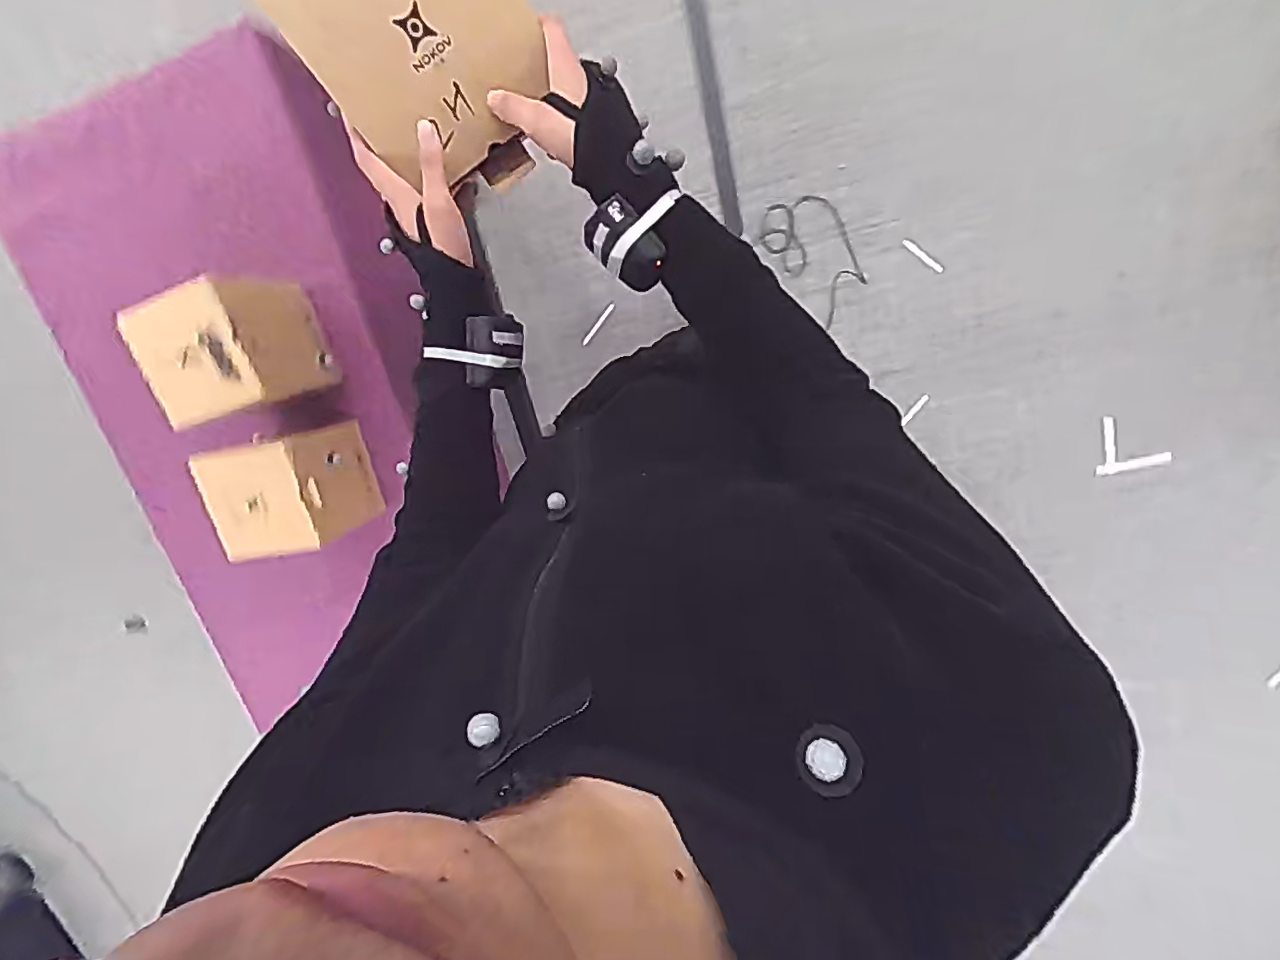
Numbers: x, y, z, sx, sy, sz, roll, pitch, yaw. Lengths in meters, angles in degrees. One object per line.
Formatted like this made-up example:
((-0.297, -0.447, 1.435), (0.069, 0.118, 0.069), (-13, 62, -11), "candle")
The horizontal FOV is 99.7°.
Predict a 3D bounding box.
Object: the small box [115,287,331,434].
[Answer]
((-0.614, -0.187, 0.827), (0.179, 0.176, 0.168), (-15, 105, 15), "small box")
